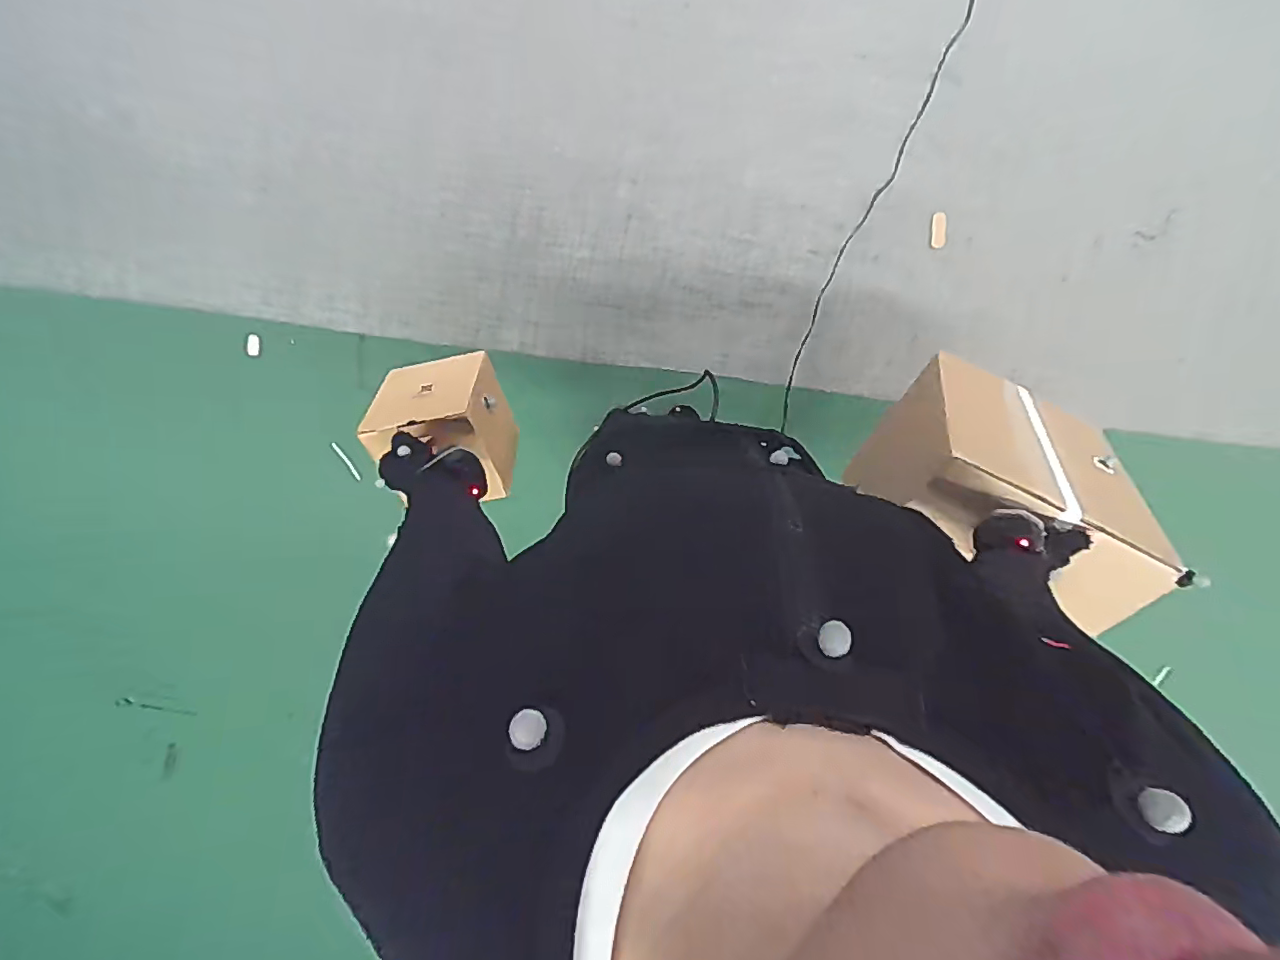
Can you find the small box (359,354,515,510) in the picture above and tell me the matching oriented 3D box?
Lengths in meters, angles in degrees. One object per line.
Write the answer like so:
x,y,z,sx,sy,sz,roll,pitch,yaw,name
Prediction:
-0.311,-0.078,0.875,0.168,0.179,0.176,-10,133,5,small box
